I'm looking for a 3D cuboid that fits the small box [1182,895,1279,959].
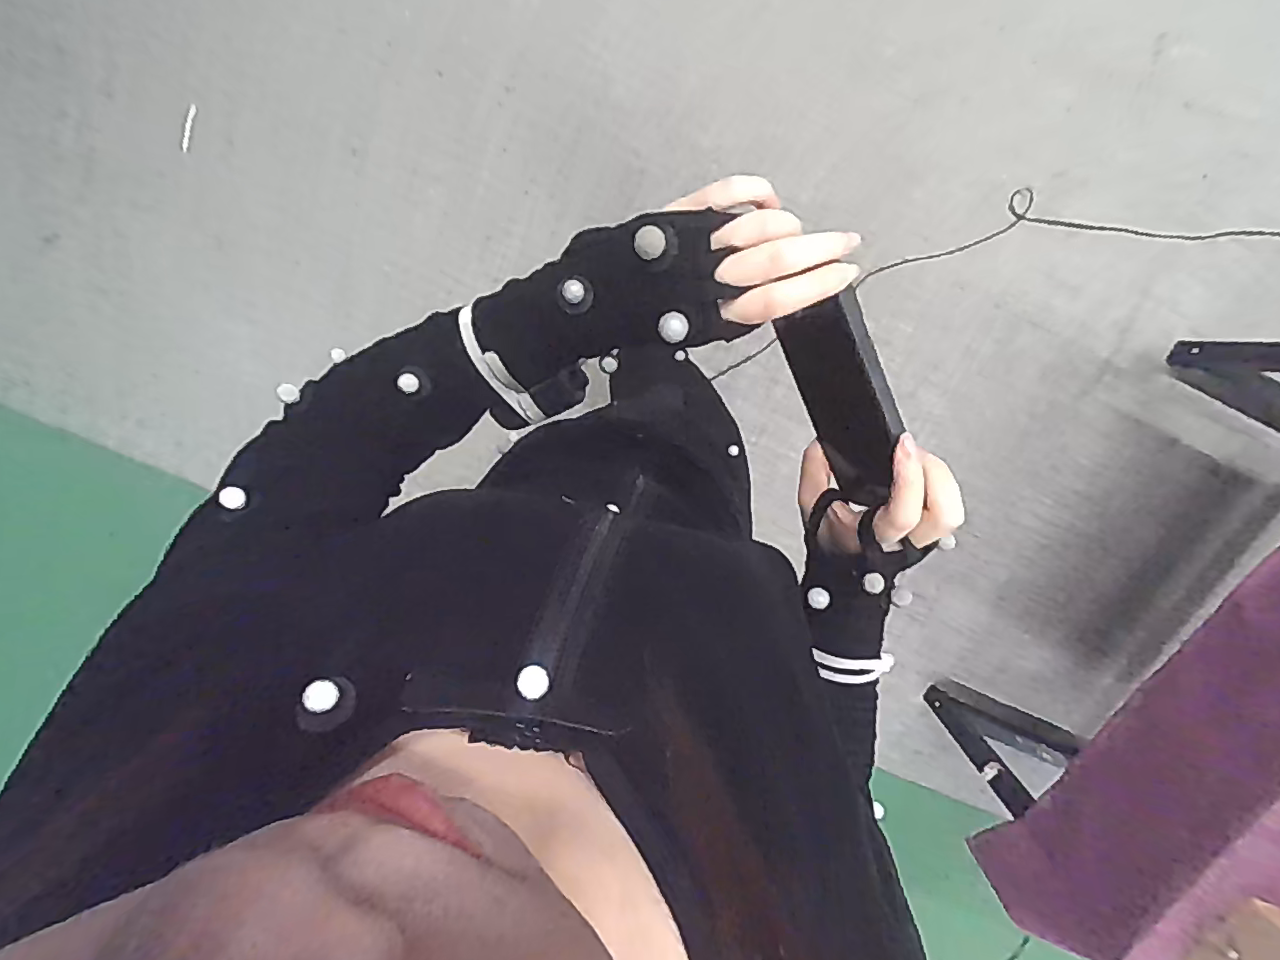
[{"bbox_3d":[1.040,0.822,0.861,0.168,0.176,0.179,24,105,-6],"label":"small box"}]
